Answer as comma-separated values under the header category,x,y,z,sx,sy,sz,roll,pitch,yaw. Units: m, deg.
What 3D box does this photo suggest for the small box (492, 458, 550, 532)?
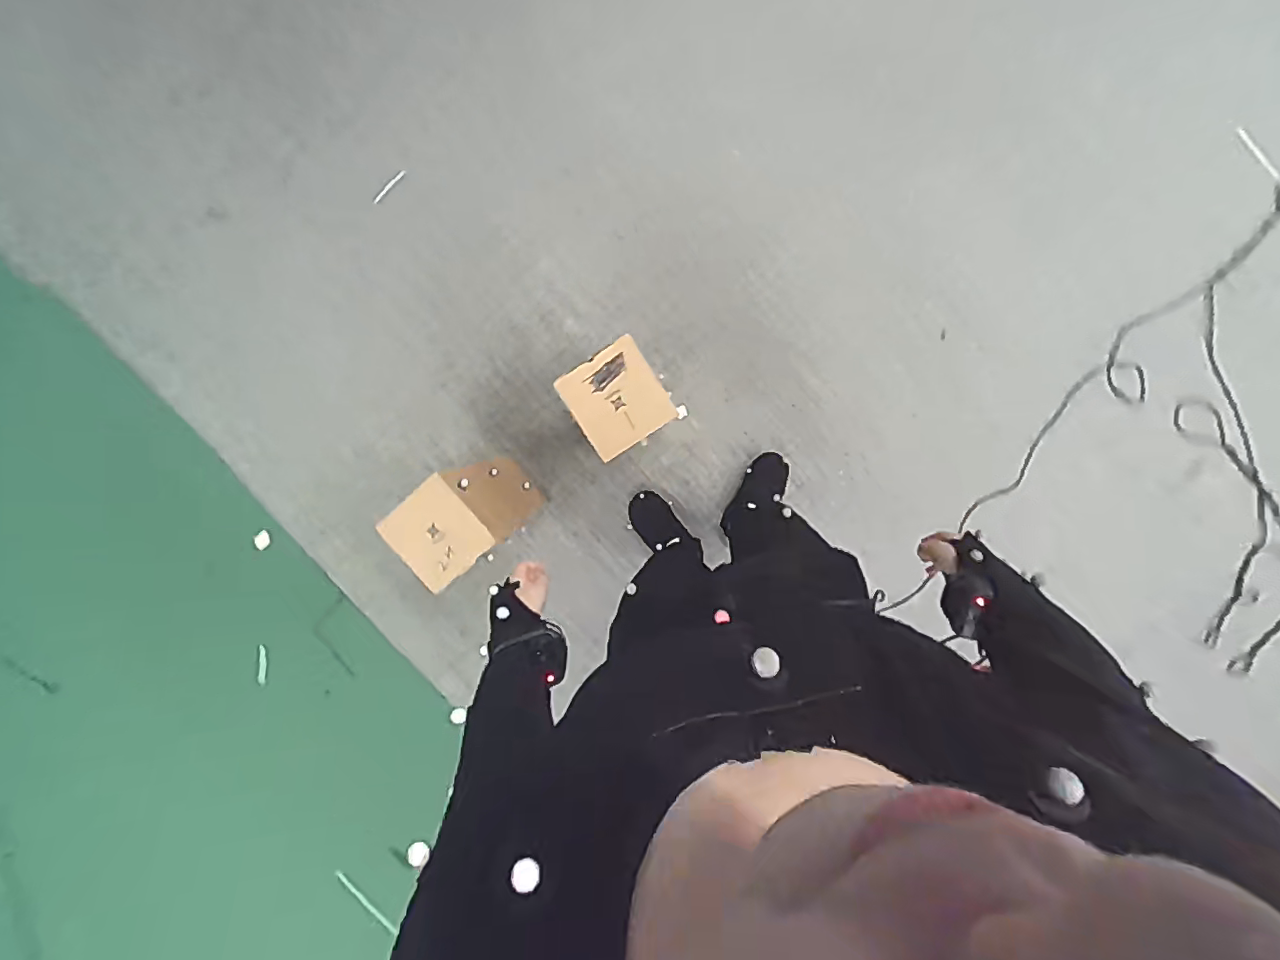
category,x,y,z,sx,sy,sz,roll,pitch,yaw
small box,-0.359,0.059,1.409,0.168,0.176,0.179,-38,94,6

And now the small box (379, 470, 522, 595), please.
category,x,y,z,sx,sy,sz,roll,pitch,yaw
small box,-0.369,0.094,1.083,0.168,0.176,0.179,-41,92,8

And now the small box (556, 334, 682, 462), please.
category,x,y,z,sx,sy,sz,roll,pitch,yaw
small box,-0.036,-0.153,1.041,0.168,0.176,0.179,-33,95,6

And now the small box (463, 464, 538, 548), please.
category,x,y,z,sx,sy,sz,roll,pitch,yaw
small box,-0.364,0.075,1.247,0.168,0.176,0.179,-41,94,7
